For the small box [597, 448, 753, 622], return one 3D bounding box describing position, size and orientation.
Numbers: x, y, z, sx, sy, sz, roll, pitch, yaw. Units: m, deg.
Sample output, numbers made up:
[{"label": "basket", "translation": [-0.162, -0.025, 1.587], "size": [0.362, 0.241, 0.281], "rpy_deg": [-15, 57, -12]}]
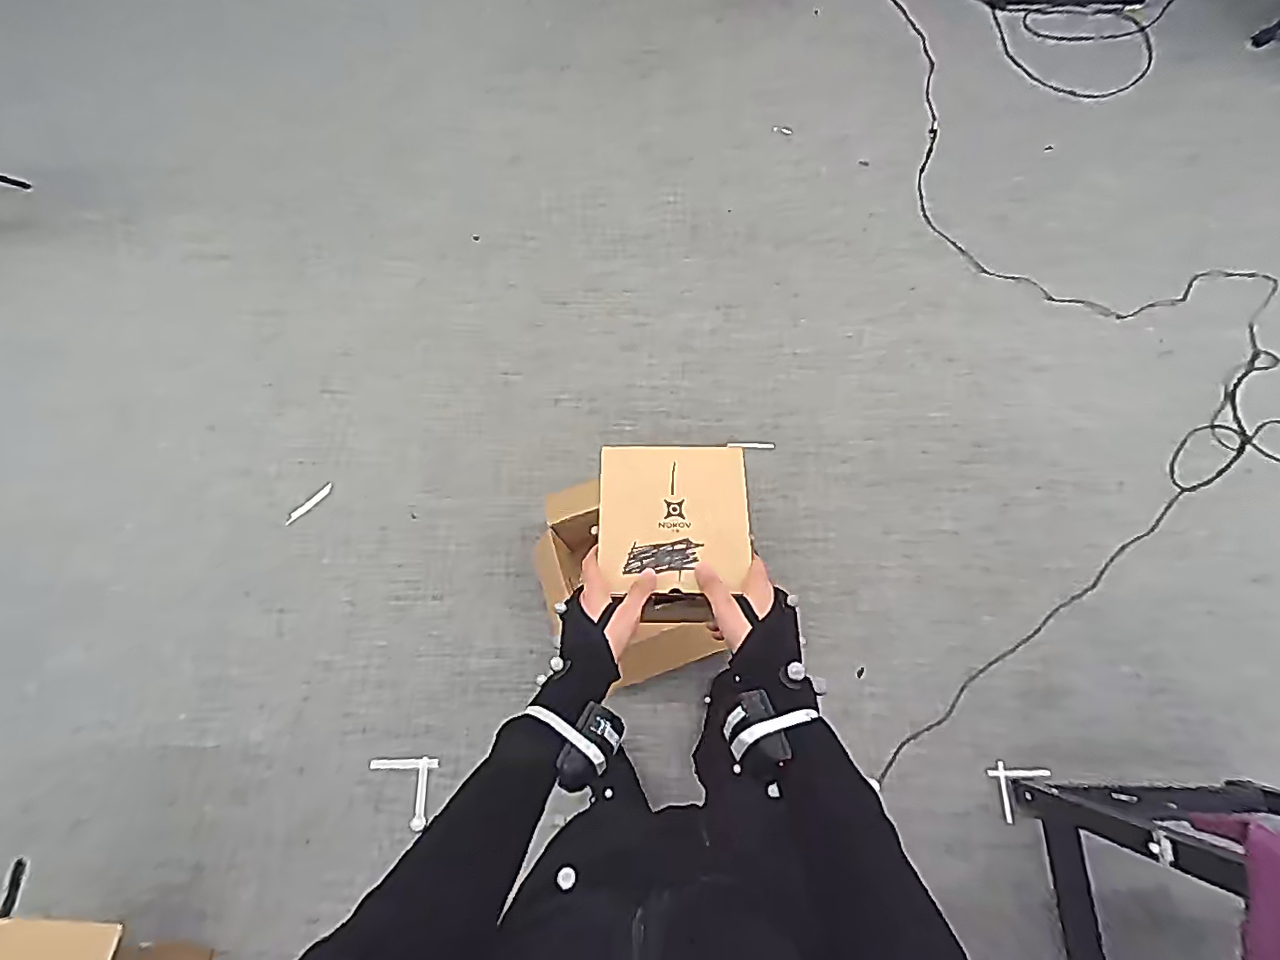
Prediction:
[{"label": "small box", "translation": [0.039, 0.075, 0.663], "size": [0.168, 0.176, 0.179], "rpy_deg": [0, 65, 0]}]
